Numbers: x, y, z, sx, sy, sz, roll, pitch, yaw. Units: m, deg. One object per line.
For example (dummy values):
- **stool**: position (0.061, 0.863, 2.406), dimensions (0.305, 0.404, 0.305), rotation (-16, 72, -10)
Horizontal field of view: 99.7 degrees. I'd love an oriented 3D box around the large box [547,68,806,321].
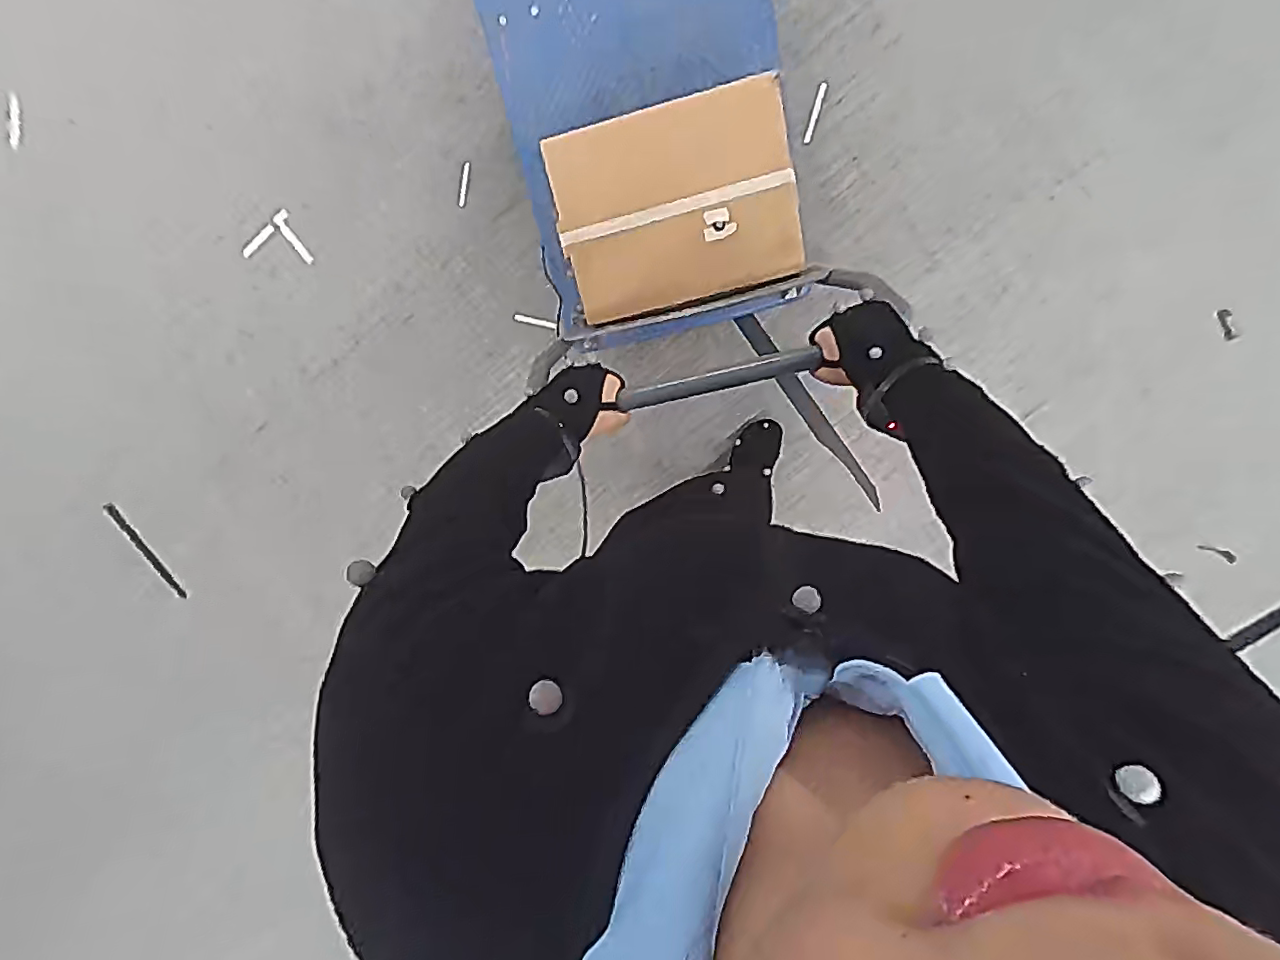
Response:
- **large box**: position (0.073, -0.530, 1.087), dimensions (0.408, 0.320, 0.320), rotation (-13, 108, 7)
